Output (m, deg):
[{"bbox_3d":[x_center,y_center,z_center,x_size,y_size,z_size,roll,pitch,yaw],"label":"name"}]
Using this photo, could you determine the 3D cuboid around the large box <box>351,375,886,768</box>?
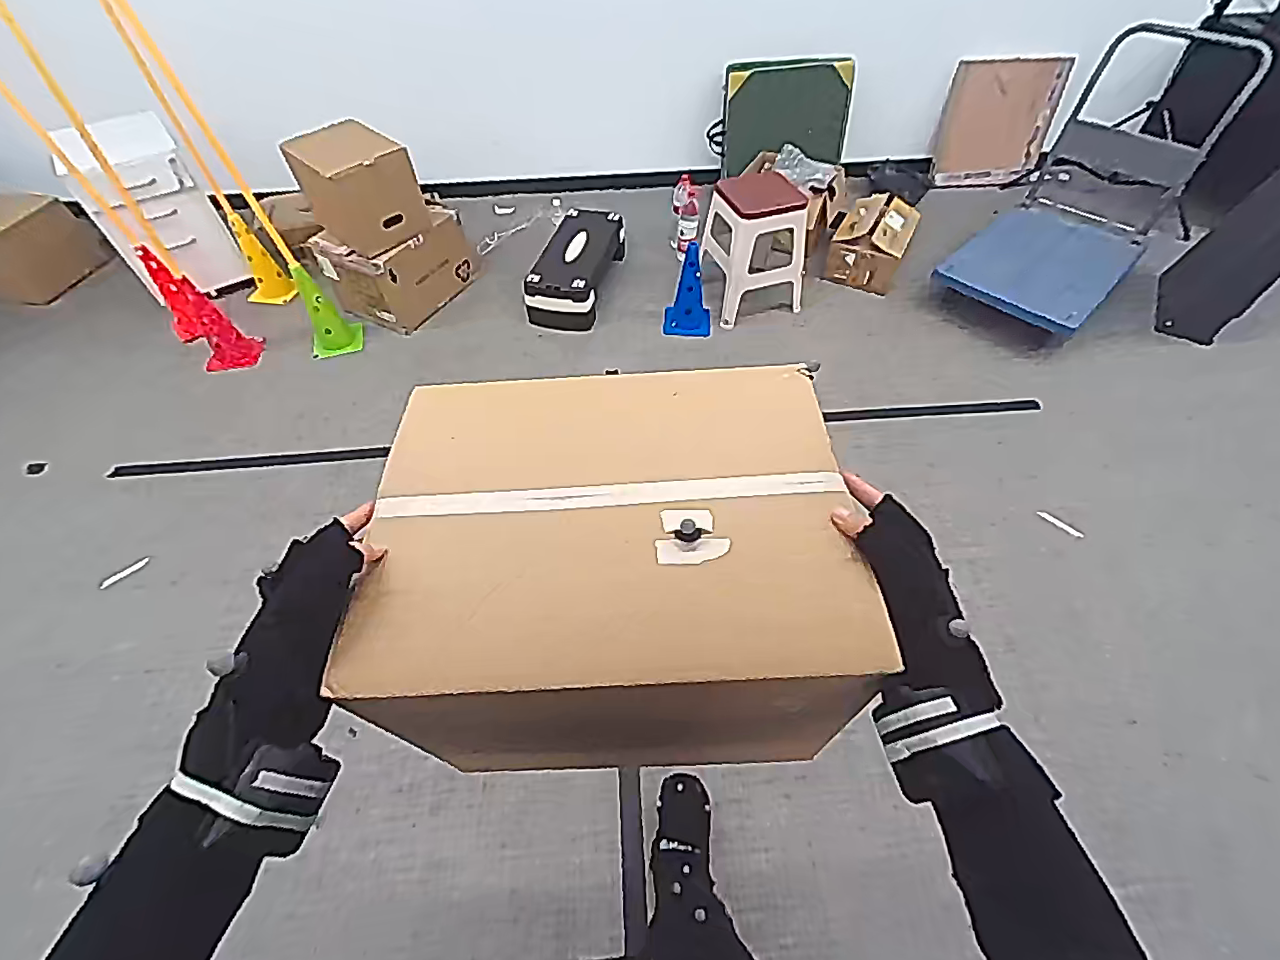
[{"bbox_3d":[-0.017,0.111,0.601,0.408,0.320,0.320,-3,52,1],"label":"large box"}]
